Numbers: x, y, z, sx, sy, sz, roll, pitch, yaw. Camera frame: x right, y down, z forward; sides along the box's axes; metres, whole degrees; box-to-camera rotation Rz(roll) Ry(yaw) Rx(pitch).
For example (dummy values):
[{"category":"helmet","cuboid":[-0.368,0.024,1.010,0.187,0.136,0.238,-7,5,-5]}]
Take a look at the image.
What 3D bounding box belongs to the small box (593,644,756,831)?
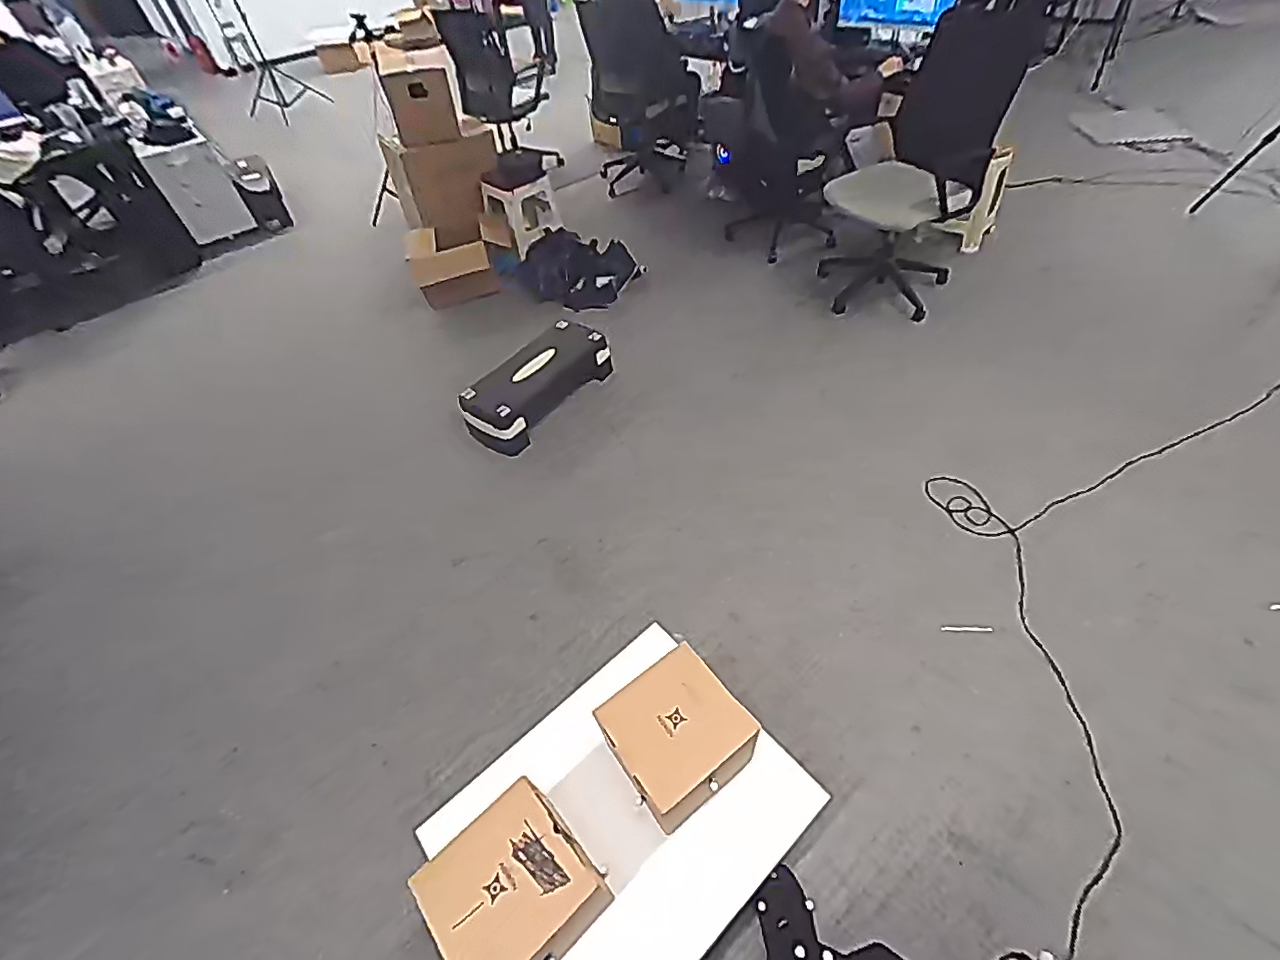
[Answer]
[{"category":"small box","cuboid":[0.054,0.390,0.815,0.179,0.176,0.168,-31,54,-20]}]
